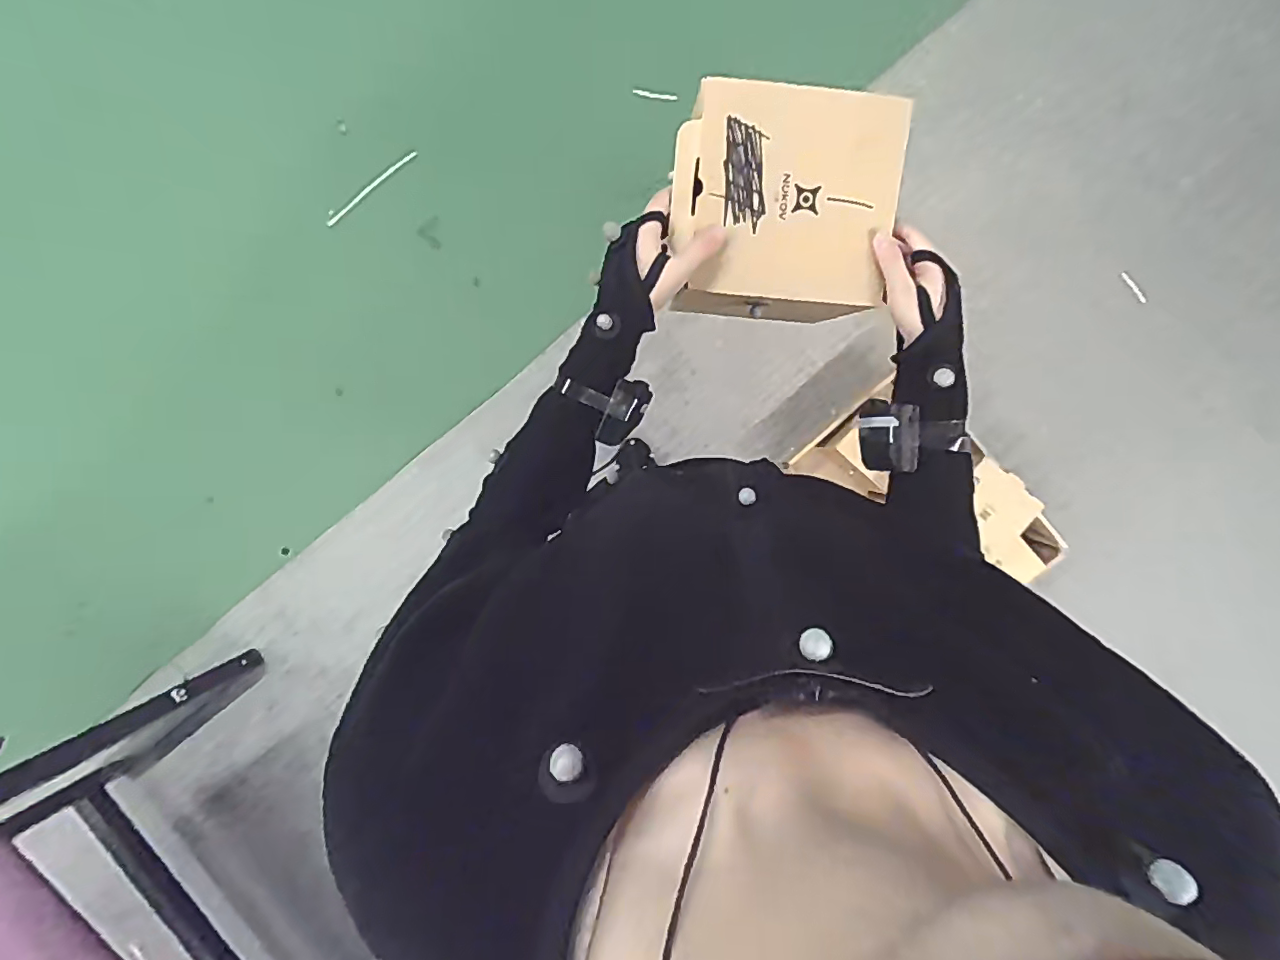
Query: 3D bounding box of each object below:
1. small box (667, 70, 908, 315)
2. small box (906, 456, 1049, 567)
[{"bbox_3d":[0.123,-0.259,0.530,0.179,0.176,0.168,4,102,-4],"label":"small box"},{"bbox_3d":[0.735,0.062,1.201,0.168,0.176,0.179,41,94,0],"label":"small box"}]
